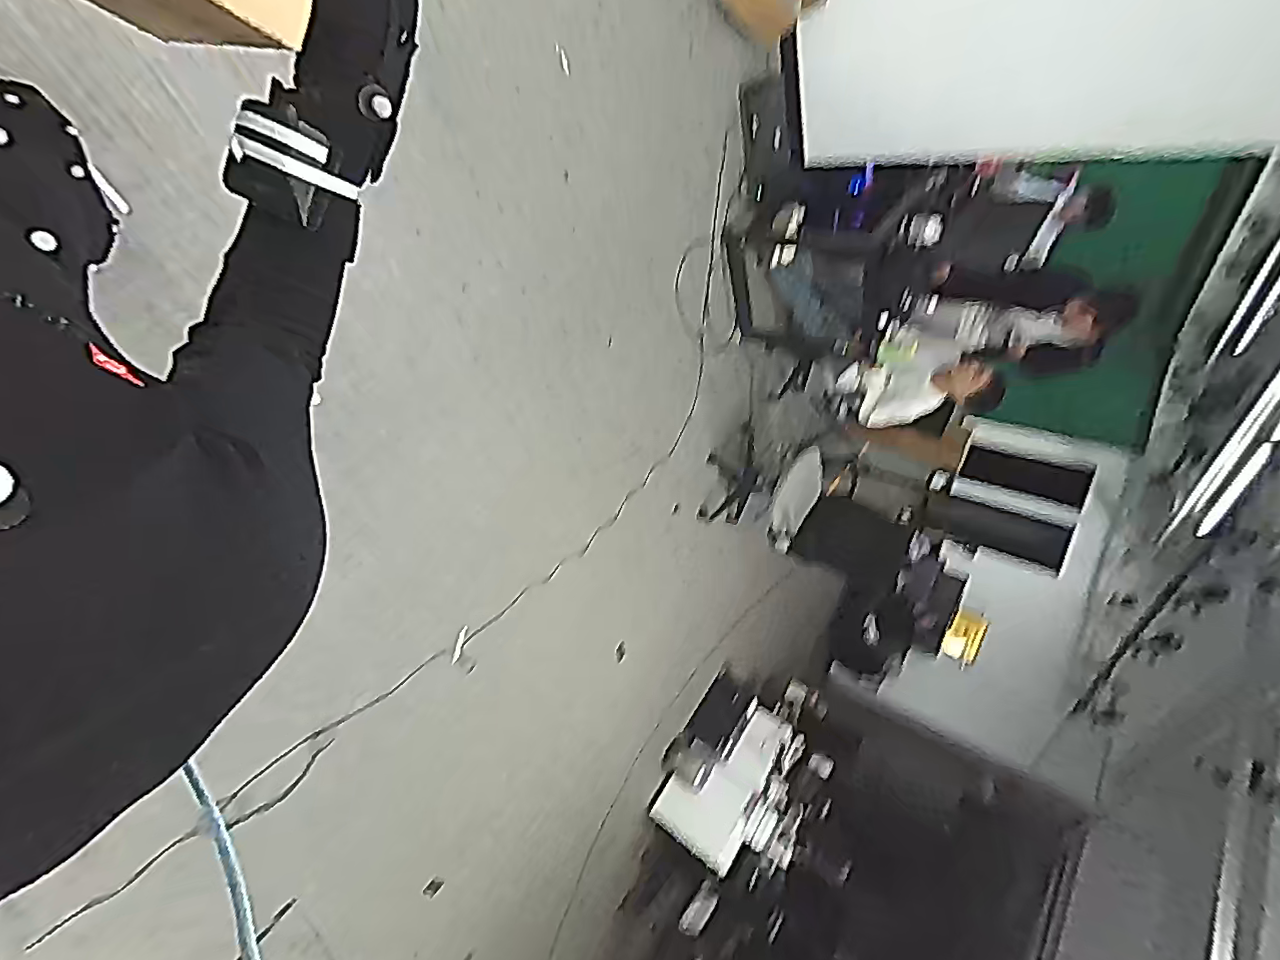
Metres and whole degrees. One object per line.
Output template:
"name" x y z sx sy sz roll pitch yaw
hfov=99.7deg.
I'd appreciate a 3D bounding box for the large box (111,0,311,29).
"large box" -0.390 -0.490 0.226 0.408 0.320 0.320 0 117 -56
